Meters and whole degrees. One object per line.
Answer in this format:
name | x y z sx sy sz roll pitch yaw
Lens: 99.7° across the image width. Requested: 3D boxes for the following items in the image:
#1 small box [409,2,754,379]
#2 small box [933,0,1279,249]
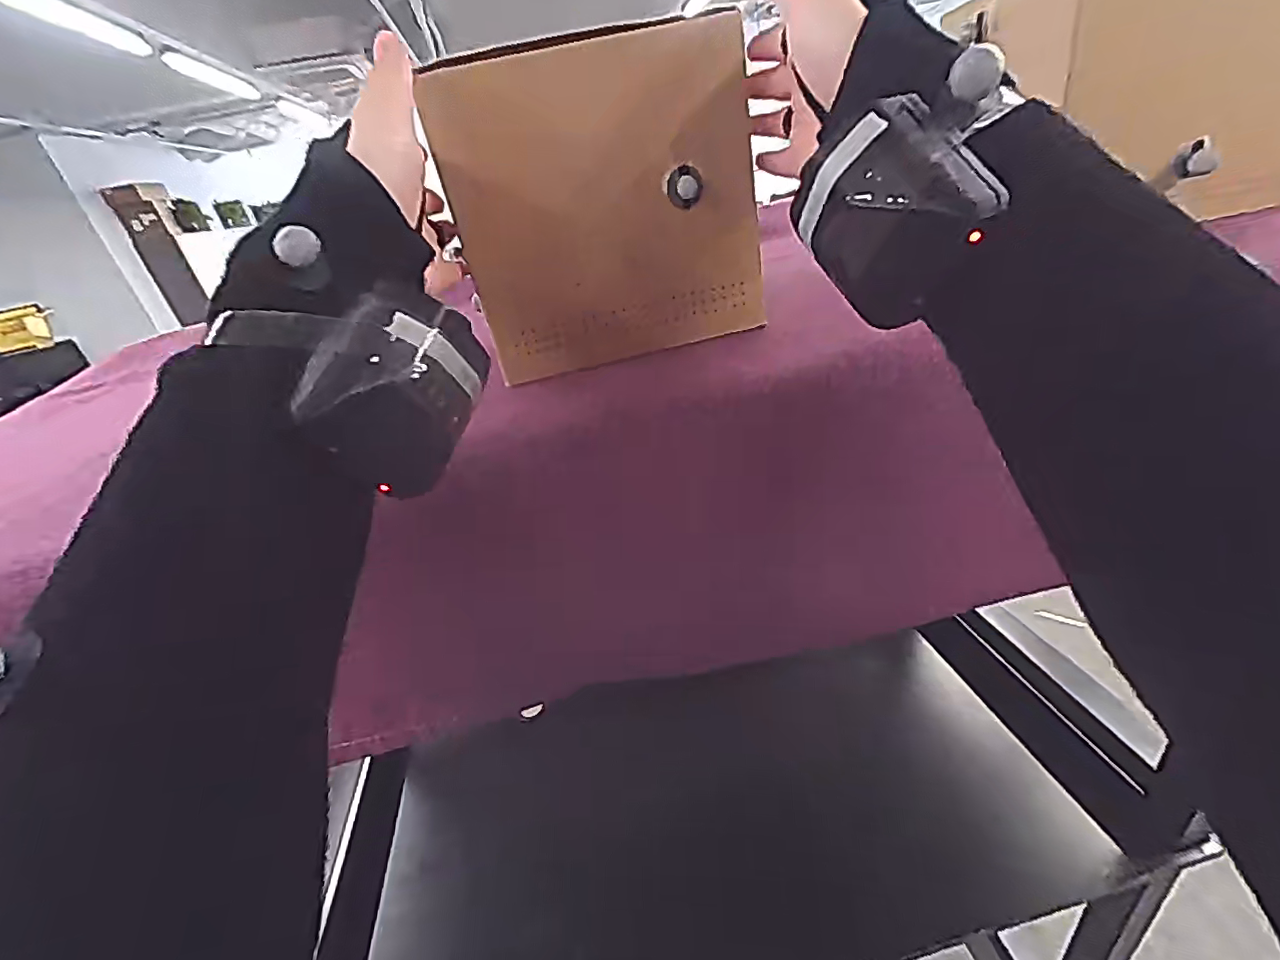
small box | -0.028 -0.187 0.376 0.179 0.176 0.168 -15 28 -3
small box | 0.343 -0.282 0.396 0.179 0.176 0.168 -10 28 4
